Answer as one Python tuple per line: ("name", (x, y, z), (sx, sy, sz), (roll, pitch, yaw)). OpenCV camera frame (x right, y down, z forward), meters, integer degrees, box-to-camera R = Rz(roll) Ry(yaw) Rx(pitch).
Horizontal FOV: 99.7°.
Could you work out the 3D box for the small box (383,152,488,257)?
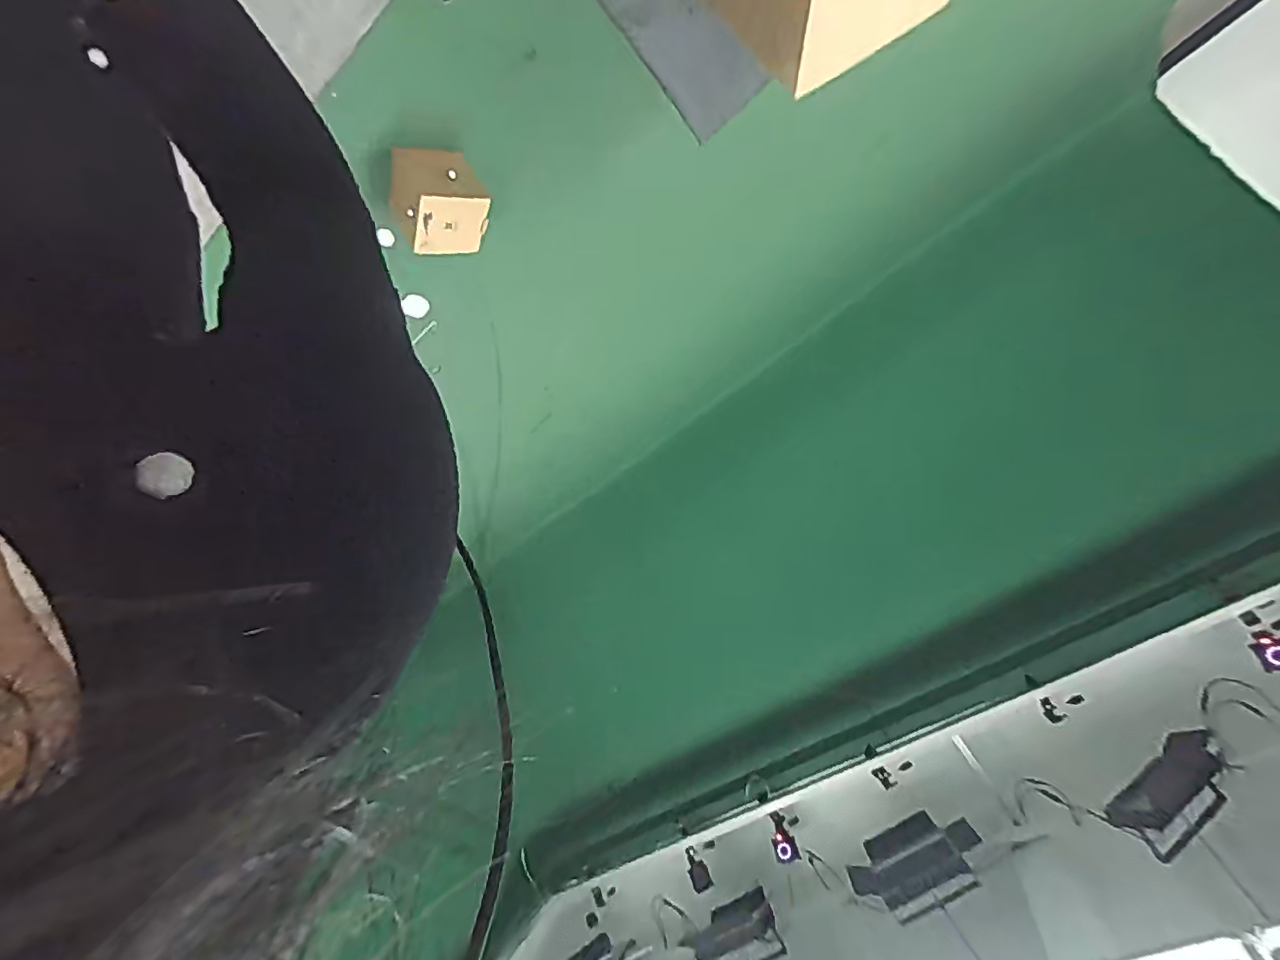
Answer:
("small box", (-0.509, -0.681, 1.341), (0.179, 0.176, 0.168), (-21, 162, -37))
